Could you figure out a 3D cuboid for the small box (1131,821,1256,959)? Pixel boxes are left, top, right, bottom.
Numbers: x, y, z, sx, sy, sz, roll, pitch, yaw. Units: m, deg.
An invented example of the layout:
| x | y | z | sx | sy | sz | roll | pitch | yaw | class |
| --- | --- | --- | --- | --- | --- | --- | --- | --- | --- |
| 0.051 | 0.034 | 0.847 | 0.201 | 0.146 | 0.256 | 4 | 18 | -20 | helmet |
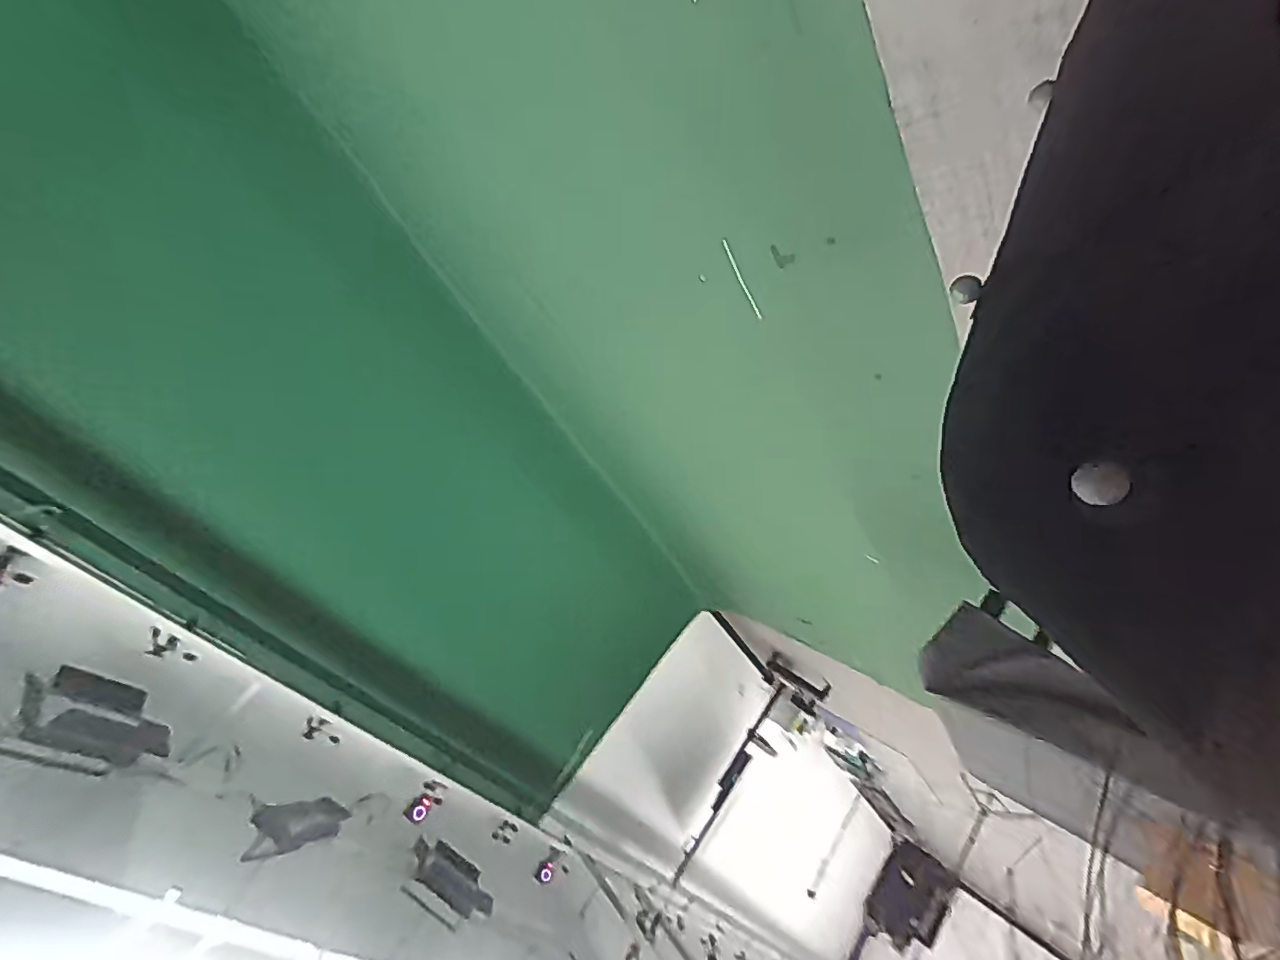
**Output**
| x | y | z | sx | sy | sz | roll | pitch | yaw | class |
| --- | --- | --- | --- | --- | --- | --- | --- | --- | --- |
| 1.222 | 0.907 | 1.199 | 0.168 | 0.176 | 0.179 | 14 | 147 | 51 | small box |
